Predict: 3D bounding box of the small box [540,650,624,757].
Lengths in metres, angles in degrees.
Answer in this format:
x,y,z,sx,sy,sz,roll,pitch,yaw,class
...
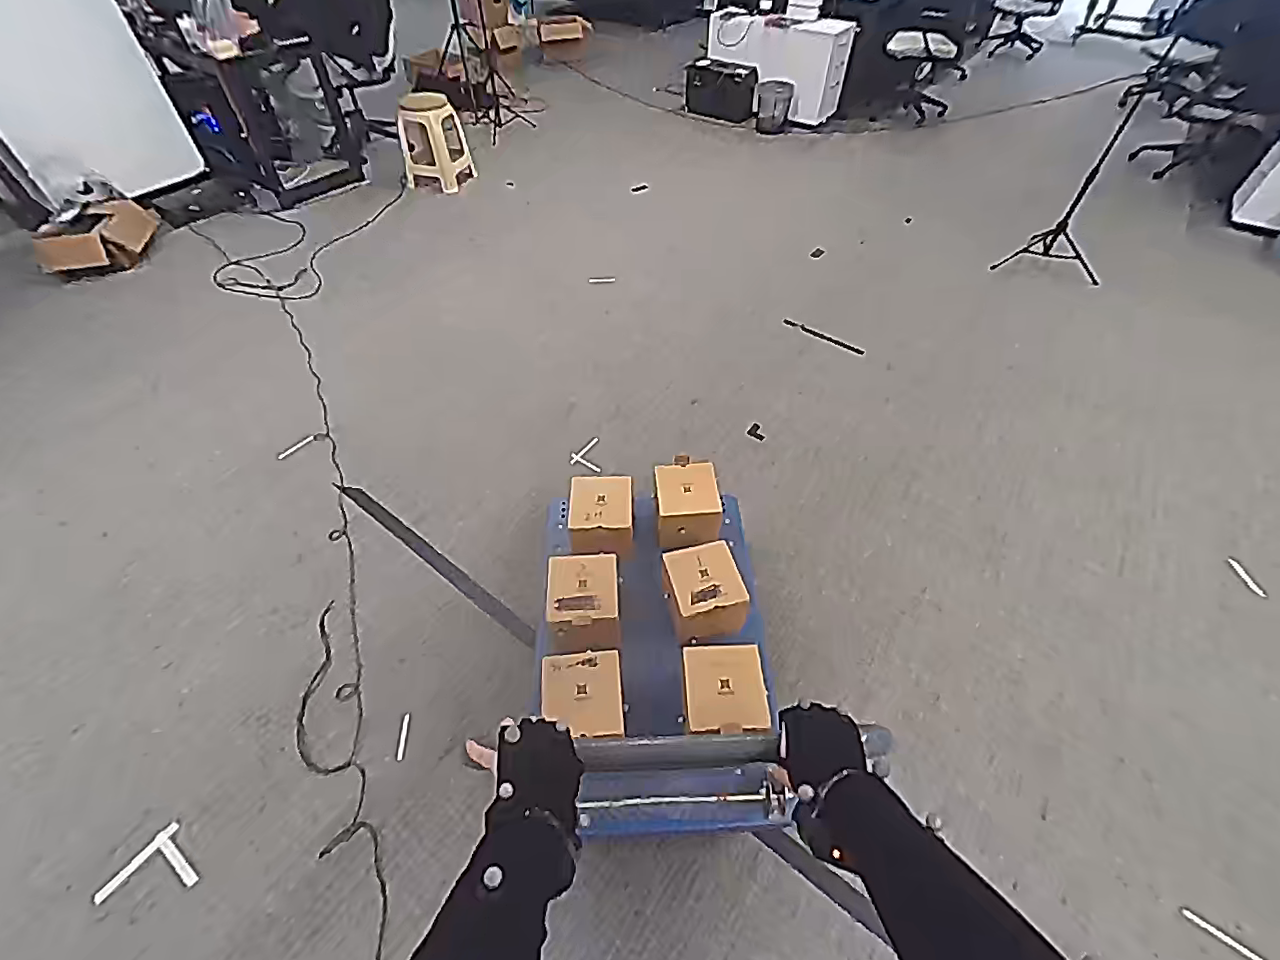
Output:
x,y,z,sx,sy,sz,roll,pitch,yaw,class
-0.122,0.492,1.178,0.168,0.176,0.179,-4,50,-4,small box

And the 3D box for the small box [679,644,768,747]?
x,y,z,sx,sy,sz,roll,pitch,yaw,class
0.175,0.479,1.191,0.168,0.176,0.179,-1,50,-1,small box

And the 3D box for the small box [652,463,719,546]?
x,y,z,sx,sy,sz,roll,pitch,yaw,class
0.122,0.075,1.530,0.168,0.176,0.179,-4,50,-3,small box

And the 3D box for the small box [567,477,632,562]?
x,y,z,sx,sy,sz,roll,pitch,yaw,class
-0.108,0.109,1.499,0.168,0.176,0.179,-1,51,0,small box

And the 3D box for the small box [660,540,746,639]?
x,y,z,sx,sy,sz,roll,pitch,yaw,class
0.151,0.282,1.355,0.168,0.176,0.179,-11,50,-9,small box
